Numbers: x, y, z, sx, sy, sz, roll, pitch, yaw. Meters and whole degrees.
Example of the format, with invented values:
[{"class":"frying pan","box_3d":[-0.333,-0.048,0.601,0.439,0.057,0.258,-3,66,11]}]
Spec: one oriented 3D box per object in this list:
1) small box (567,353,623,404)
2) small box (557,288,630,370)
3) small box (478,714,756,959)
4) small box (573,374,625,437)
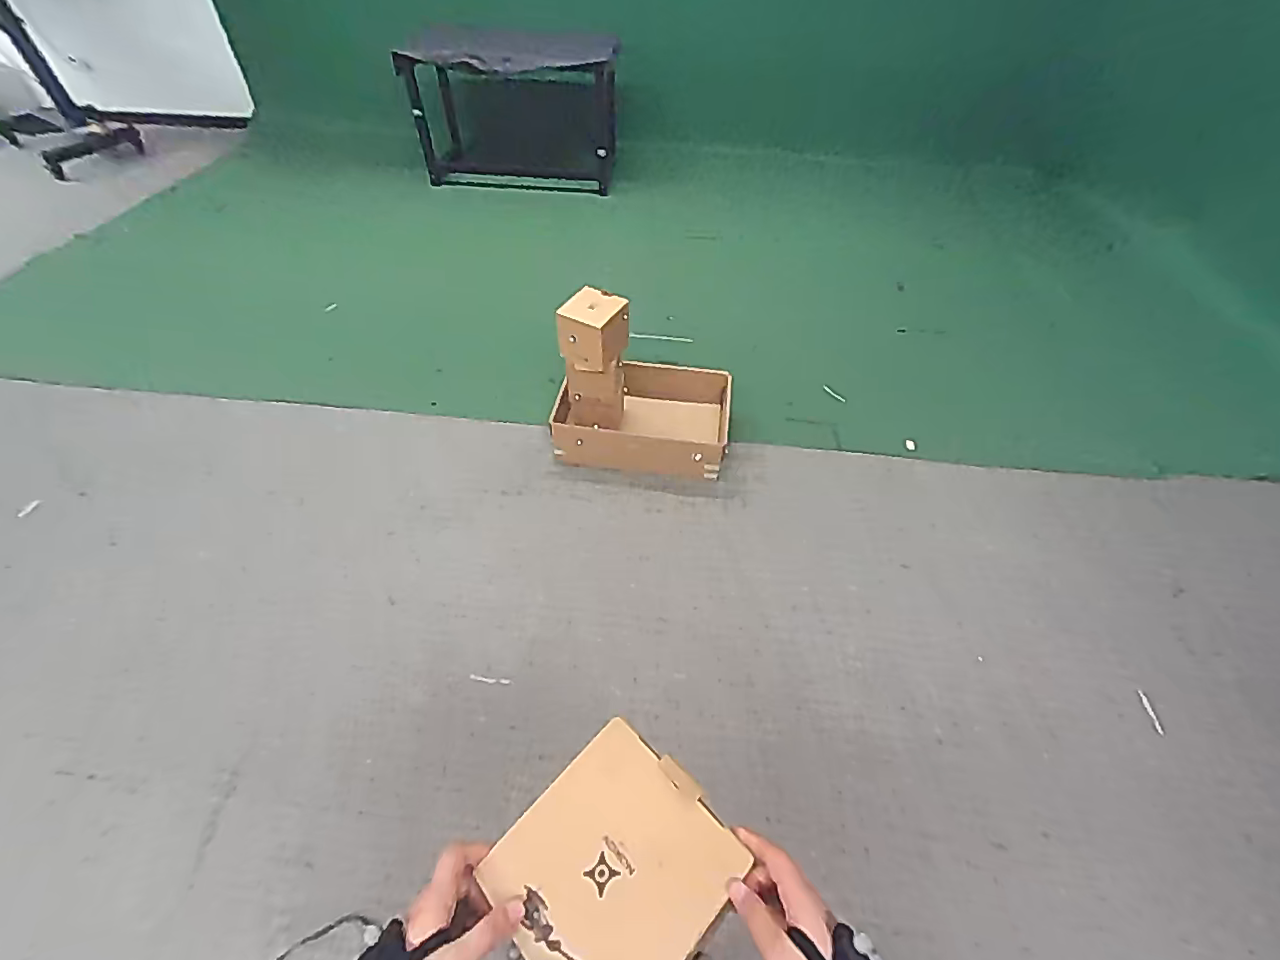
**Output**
[{"class":"small box","box_3d":[-0.150,-0.382,1.866,0.168,0.176,0.179,7,49,3]},{"class":"small box","box_3d":[-0.143,-0.482,1.738,0.168,0.176,0.179,24,52,17]},{"class":"small box","box_3d":[-0.013,0.363,0.506,0.179,0.176,0.168,-41,56,-21]},{"class":"small box","box_3d":[-0.147,-0.282,1.997,0.168,0.176,0.179,5,49,3]}]
